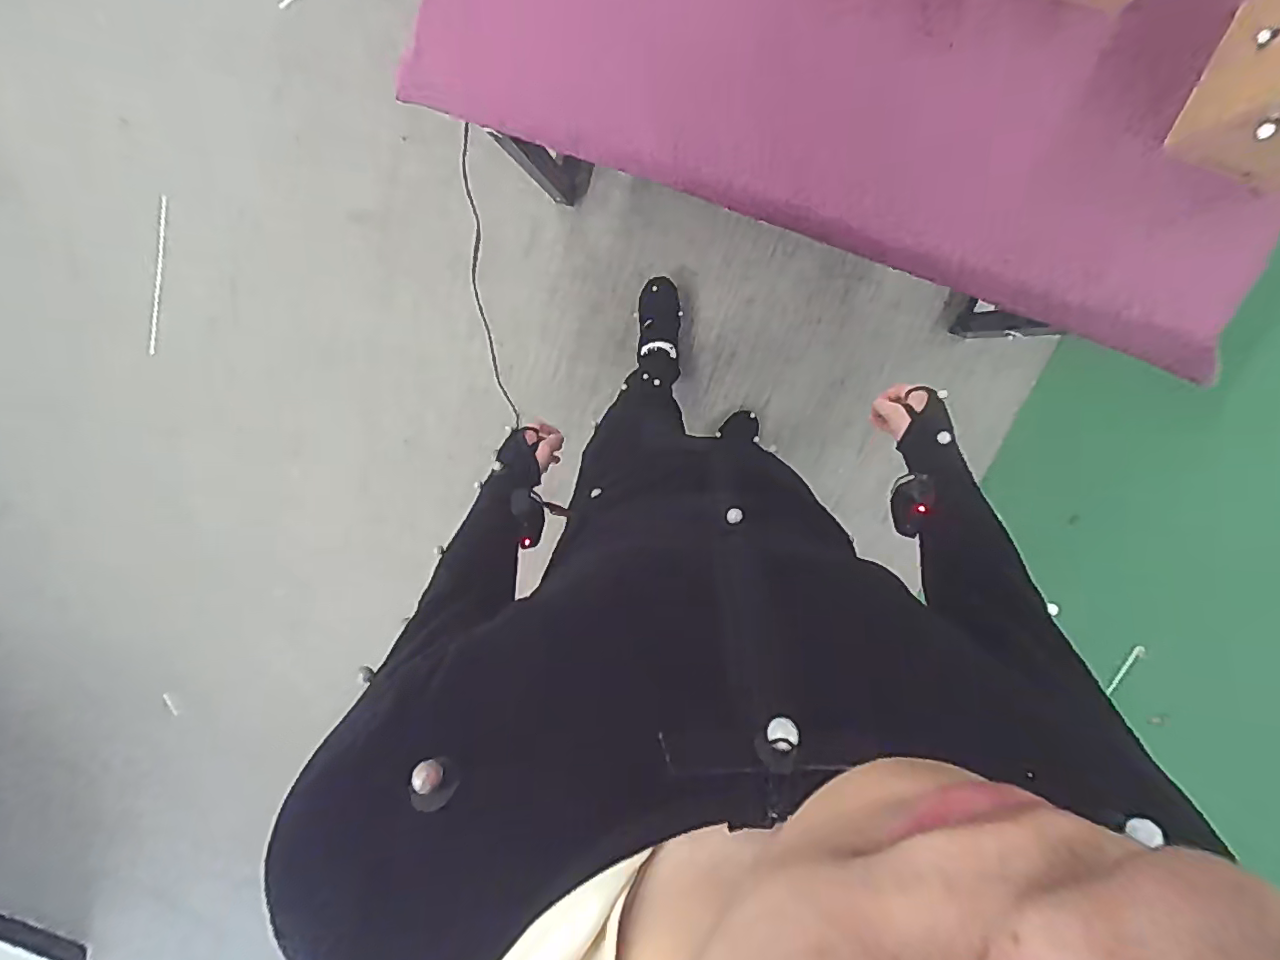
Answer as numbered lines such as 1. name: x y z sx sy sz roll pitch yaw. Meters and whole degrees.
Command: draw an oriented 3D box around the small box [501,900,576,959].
1. small box: -0.287 1.312 1.476 0.168 0.176 0.179 23 105 -1
